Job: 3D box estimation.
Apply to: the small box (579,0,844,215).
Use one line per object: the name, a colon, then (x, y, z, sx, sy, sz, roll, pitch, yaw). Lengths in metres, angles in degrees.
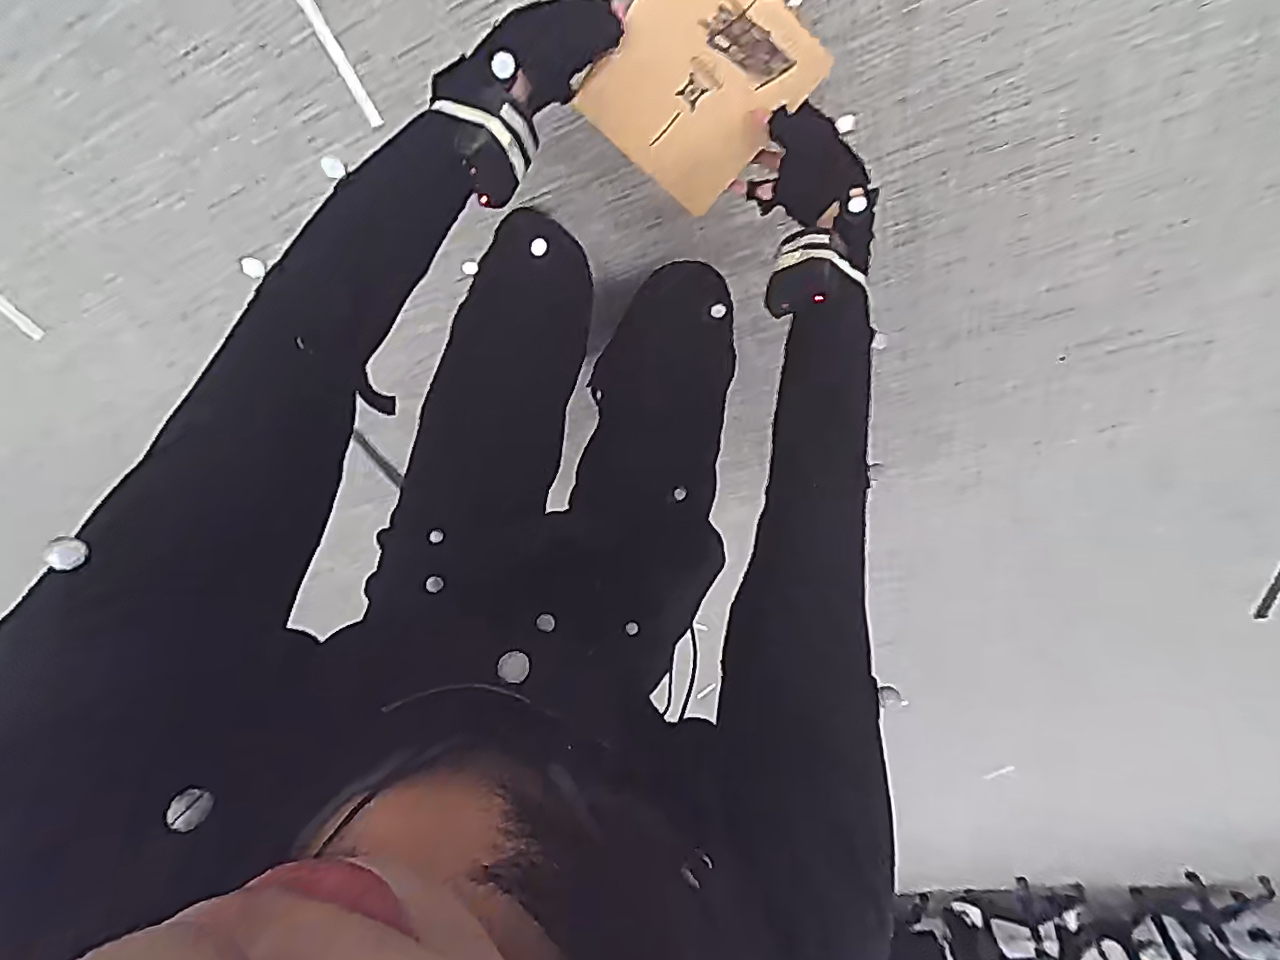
small box: (0.061, -0.410, 0.524, 0.168, 0.176, 0.179, 30, 131, -27)
